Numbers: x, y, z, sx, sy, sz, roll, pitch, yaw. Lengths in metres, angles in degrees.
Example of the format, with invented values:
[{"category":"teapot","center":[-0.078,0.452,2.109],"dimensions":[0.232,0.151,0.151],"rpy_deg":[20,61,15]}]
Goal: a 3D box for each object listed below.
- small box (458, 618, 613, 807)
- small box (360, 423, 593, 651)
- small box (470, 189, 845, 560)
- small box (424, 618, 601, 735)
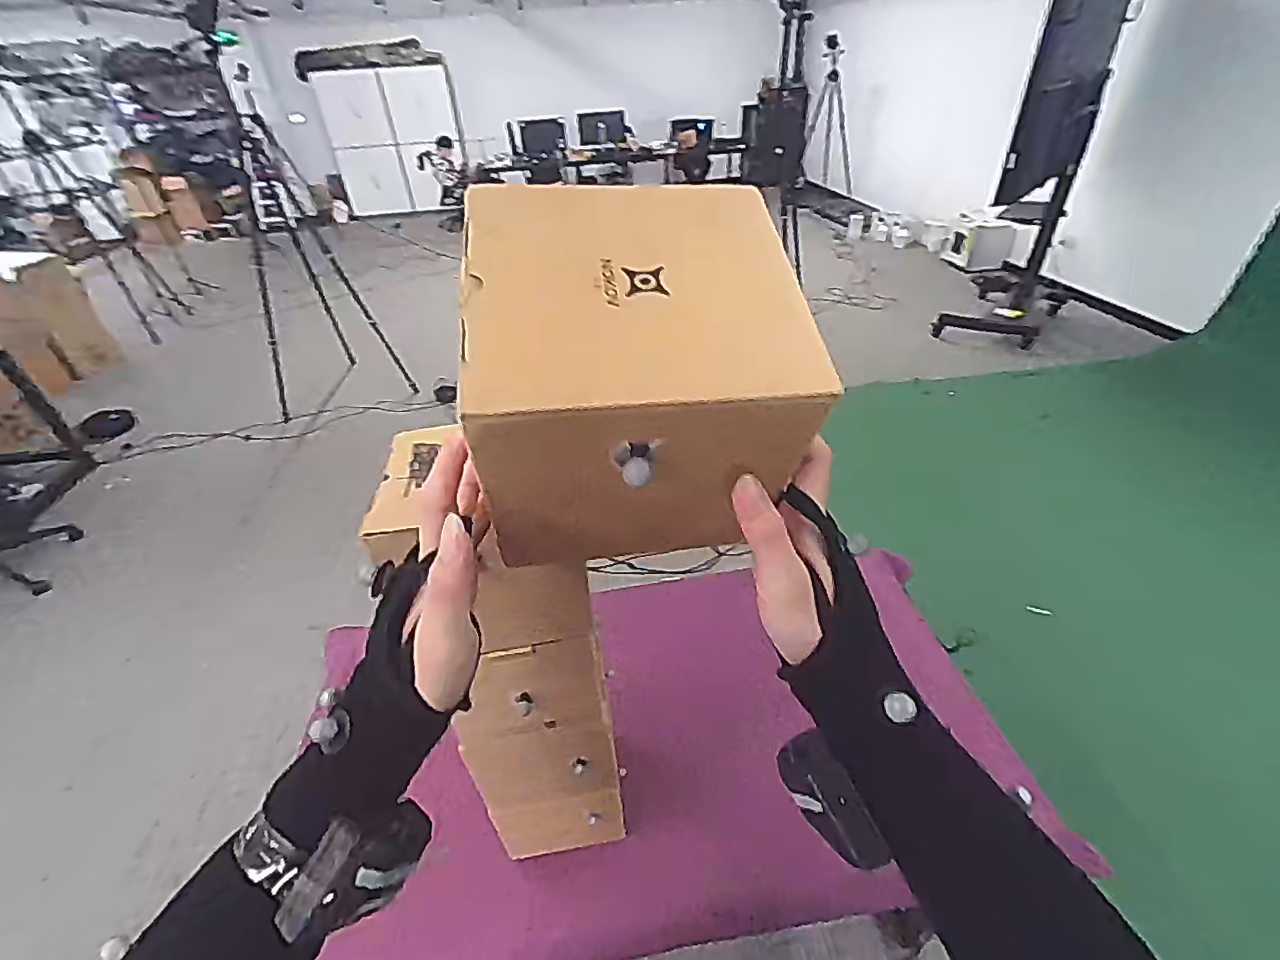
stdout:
[{"category":"small box","center":[-0.132,0.317,0.741],"dimensions":[0.179,0.176,0.168],"rpy_deg":[-8,37,-5]},{"category":"small box","center":[-0.148,0.052,0.549],"dimensions":[0.179,0.176,0.168],"rpy_deg":[-7,36,-7]},{"category":"small box","center":[-0.003,-0.059,0.350],"dimensions":[0.179,0.176,0.168],"rpy_deg":[-5,60,-7]},{"category":"small box","center":[-0.142,0.182,0.649],"dimensions":[0.168,0.176,0.179],"rpy_deg":[-8,37,-6]}]
